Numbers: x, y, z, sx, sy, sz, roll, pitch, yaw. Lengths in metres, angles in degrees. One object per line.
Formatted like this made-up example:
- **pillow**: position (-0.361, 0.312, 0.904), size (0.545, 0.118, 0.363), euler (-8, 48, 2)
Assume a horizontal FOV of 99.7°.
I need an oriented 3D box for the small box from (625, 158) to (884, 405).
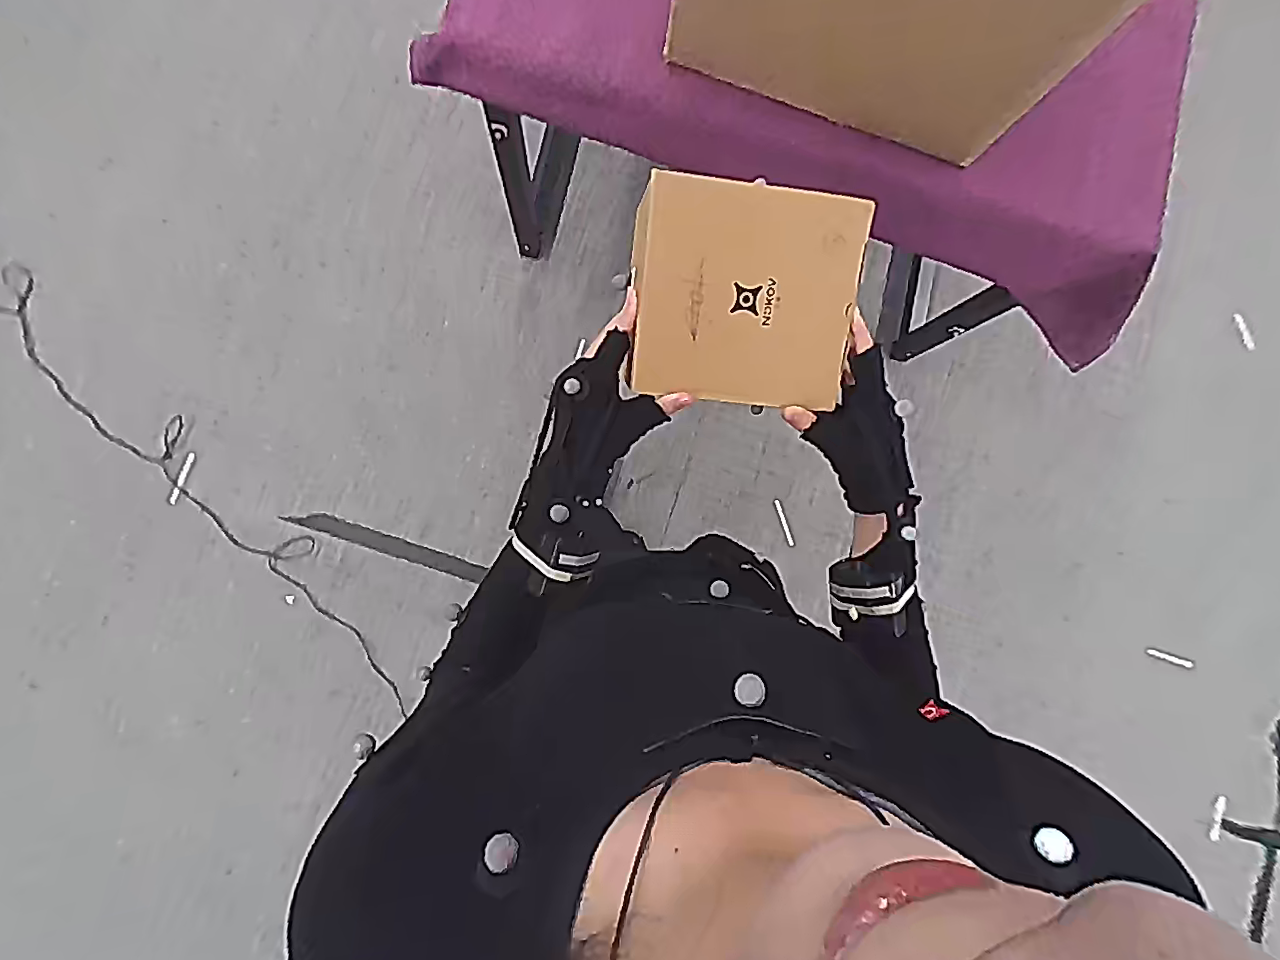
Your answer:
- **small box**: position (0.084, -0.166, 0.492), size (0.179, 0.176, 0.168), euler (4, 103, -5)
